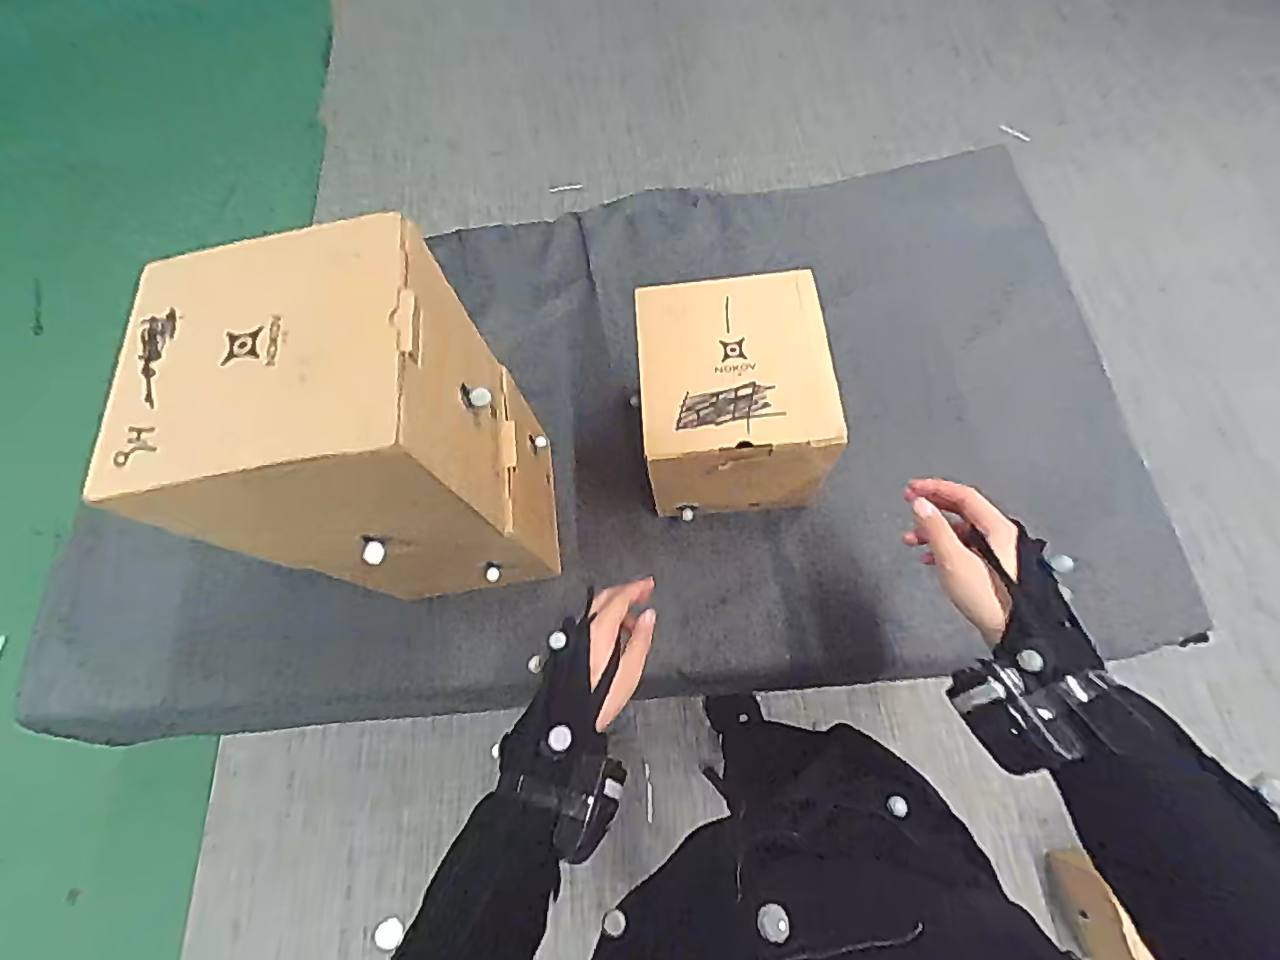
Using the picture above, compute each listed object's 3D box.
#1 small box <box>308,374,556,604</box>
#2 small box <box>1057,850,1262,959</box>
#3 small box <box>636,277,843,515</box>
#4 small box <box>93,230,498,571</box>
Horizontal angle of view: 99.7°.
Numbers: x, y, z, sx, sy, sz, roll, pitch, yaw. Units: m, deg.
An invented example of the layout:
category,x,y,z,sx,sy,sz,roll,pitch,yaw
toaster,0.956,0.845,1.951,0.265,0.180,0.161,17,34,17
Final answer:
category,x,y,z,sx,sy,sz,roll,pitch,yaw
small box,-0.187,0.020,0.539,0.179,0.176,0.168,-10,66,3
small box,0.870,0.752,0.915,0.179,0.176,0.168,-11,67,2
small box,0.088,-0.070,0.542,0.168,0.176,0.179,-4,67,4
small box,-0.208,-0.041,0.388,0.179,0.176,0.168,-9,67,2
